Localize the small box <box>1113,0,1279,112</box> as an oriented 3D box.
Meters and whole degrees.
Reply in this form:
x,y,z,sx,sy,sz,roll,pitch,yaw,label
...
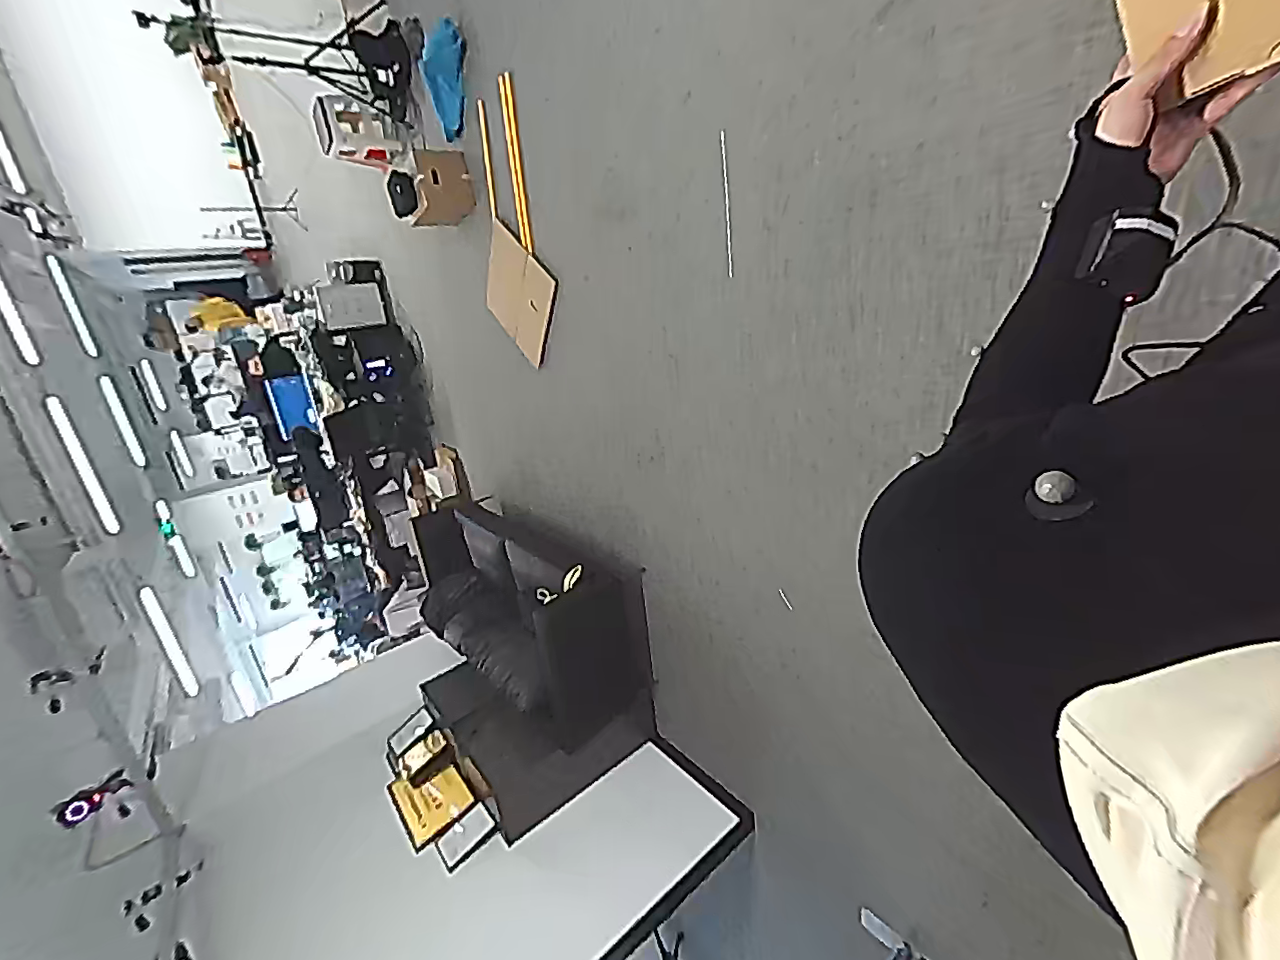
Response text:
x,y,z,sx,sy,sz,roll,pitch,yaw,label
0.486,-0.427,0.401,0.179,0.176,0.168,60,157,-15,small box
